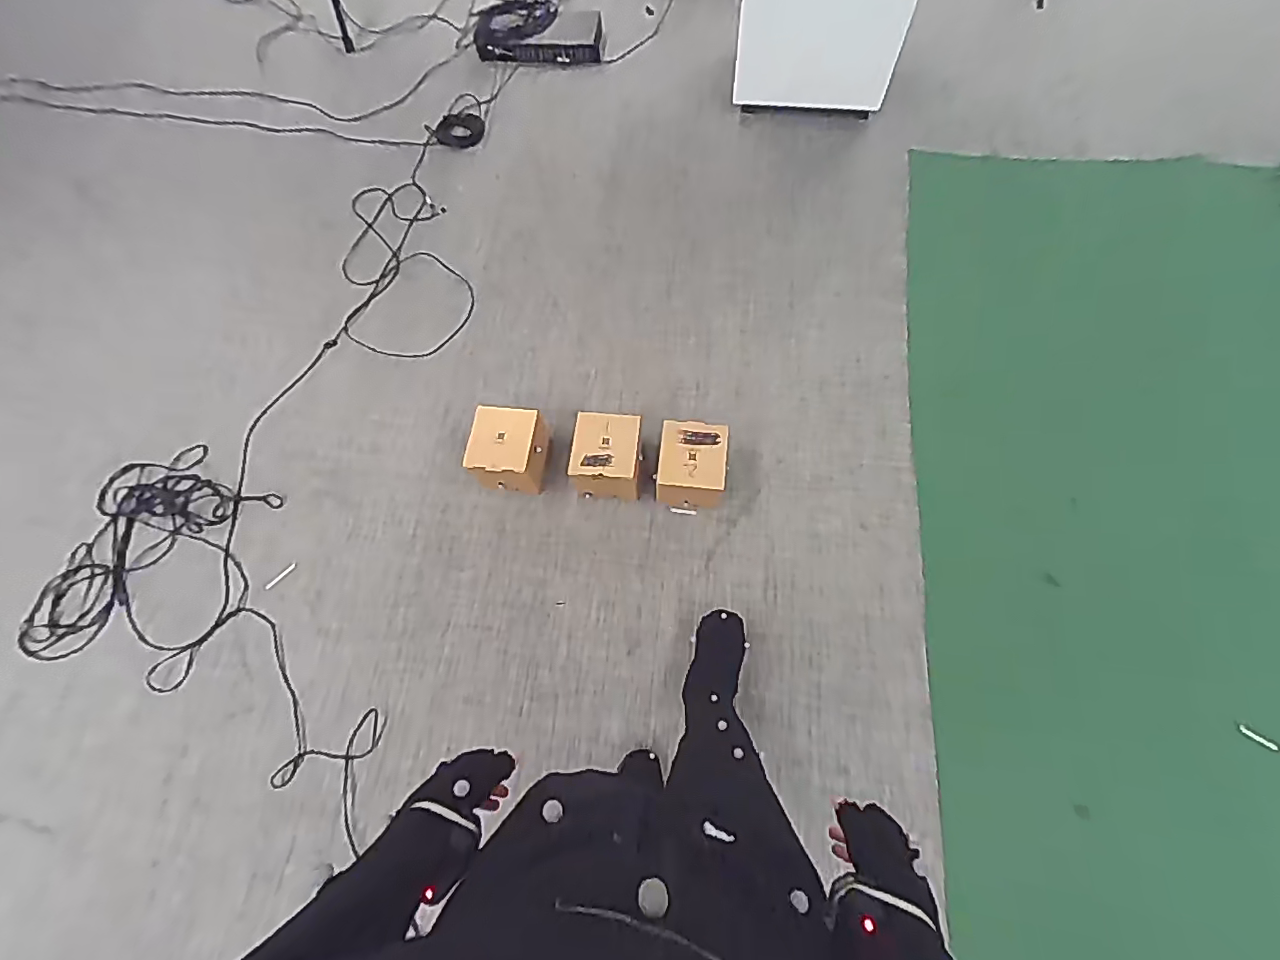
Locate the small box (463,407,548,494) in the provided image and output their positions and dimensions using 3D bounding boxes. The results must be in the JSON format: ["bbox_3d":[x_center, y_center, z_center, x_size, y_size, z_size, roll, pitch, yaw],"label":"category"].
[{"bbox_3d":[-0.354,-0.077,1.462,0.168,0.176,0.179,5,69,6],"label":"small box"}]

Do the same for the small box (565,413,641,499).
[{"bbox_3d":[-0.090,-0.059,1.435,0.168,0.176,0.179,4,68,6],"label":"small box"}]
